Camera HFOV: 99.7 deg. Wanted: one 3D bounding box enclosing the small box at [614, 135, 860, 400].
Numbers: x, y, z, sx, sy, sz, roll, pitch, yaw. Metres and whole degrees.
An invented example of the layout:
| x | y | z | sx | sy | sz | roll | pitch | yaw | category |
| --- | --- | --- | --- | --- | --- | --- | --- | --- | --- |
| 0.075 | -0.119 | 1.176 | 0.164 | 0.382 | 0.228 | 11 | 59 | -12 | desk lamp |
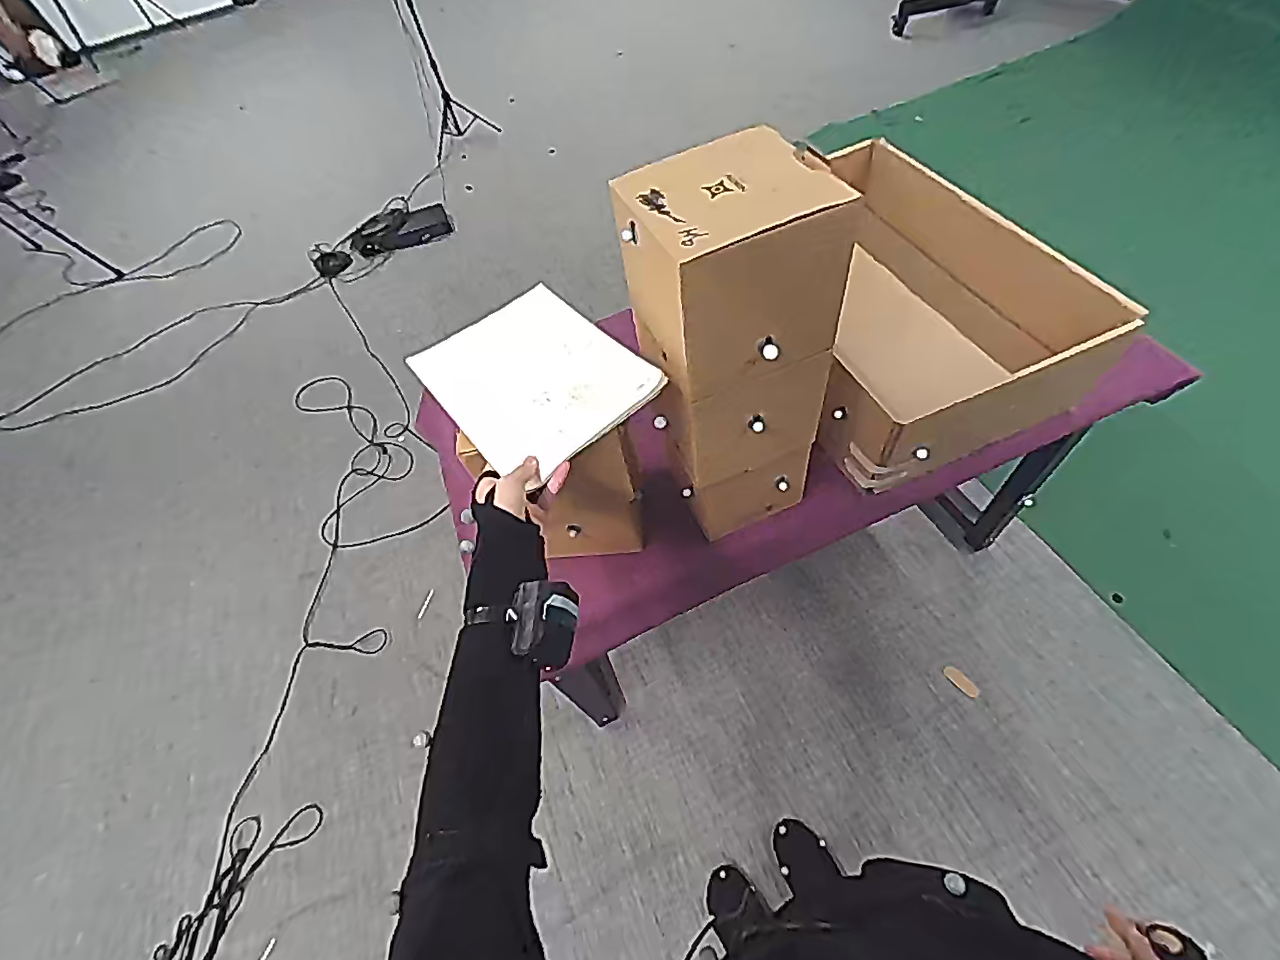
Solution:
| x | y | z | sx | sy | sz | roll | pitch | yaw | category |
| --- | --- | --- | --- | --- | --- | --- | --- | --- | --- |
| 0.090 | -0.214 | 0.558 | 0.179 | 0.176 | 0.168 | -22 | 54 | -7 | small box |

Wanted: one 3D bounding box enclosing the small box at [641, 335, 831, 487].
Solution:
| x | y | z | sx | sy | sz | roll | pitch | yaw | category |
| --- | --- | --- | --- | --- | --- | --- | --- | --- | --- |
| 0.114 | -0.121 | 0.691 | 0.179 | 0.176 | 0.168 | -22 | 54 | -5 | small box |

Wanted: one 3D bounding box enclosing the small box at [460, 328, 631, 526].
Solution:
| x | y | z | sx | sy | sz | roll | pitch | yaw | category |
| --- | --- | --- | --- | --- | --- | --- | --- | --- | --- |
| -0.112 | -0.062 | 0.693 | 0.179 | 0.176 | 0.168 | -13 | 55 | 2 | small box |
